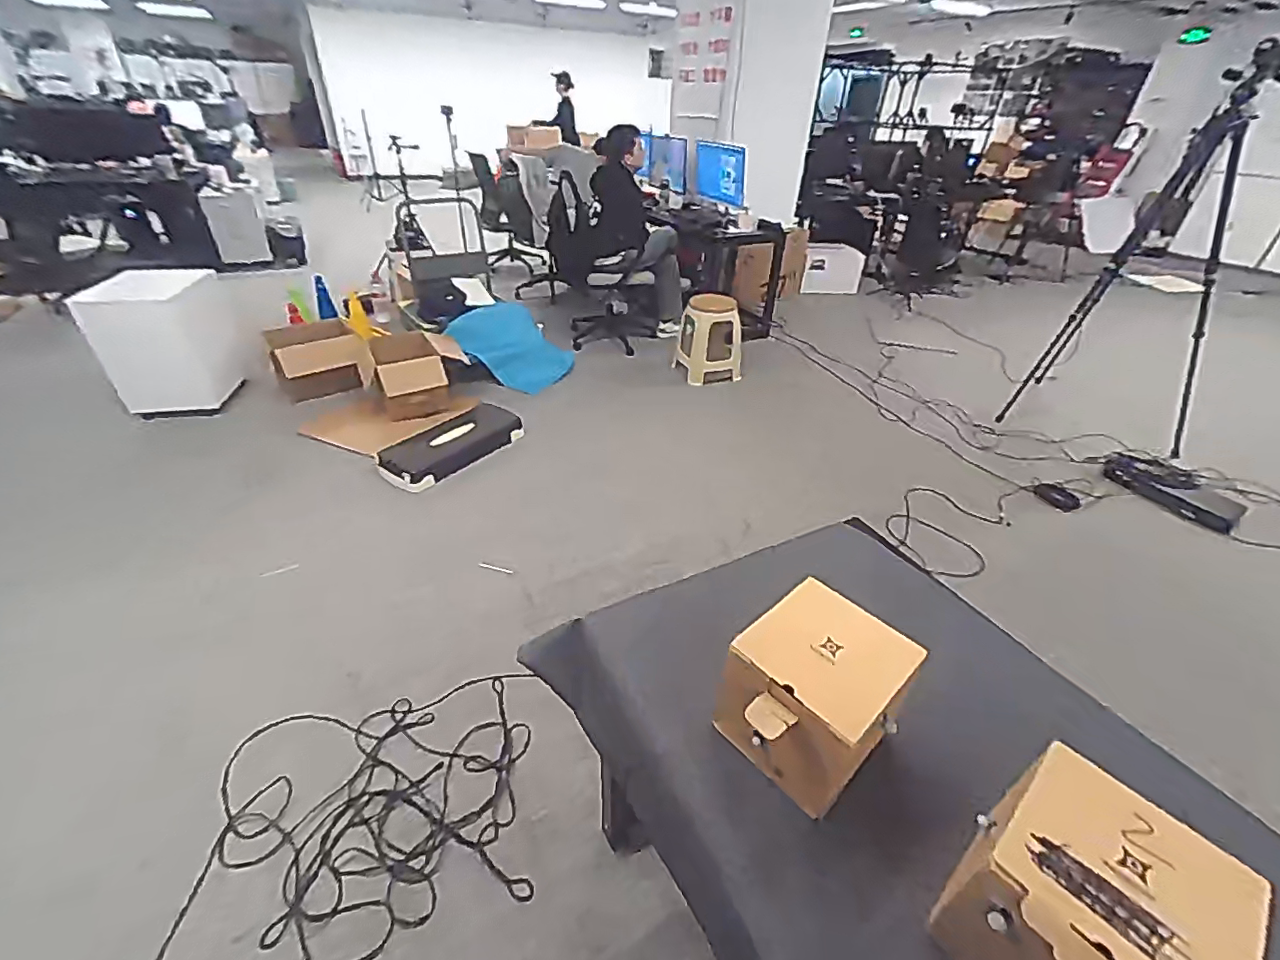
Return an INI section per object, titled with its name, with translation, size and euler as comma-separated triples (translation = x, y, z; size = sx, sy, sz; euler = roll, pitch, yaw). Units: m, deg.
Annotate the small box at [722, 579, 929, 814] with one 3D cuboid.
[small box]
translation = 0.220, 0.264, 0.680
size = 0.179, 0.176, 0.168
euler = -27, 45, -34
